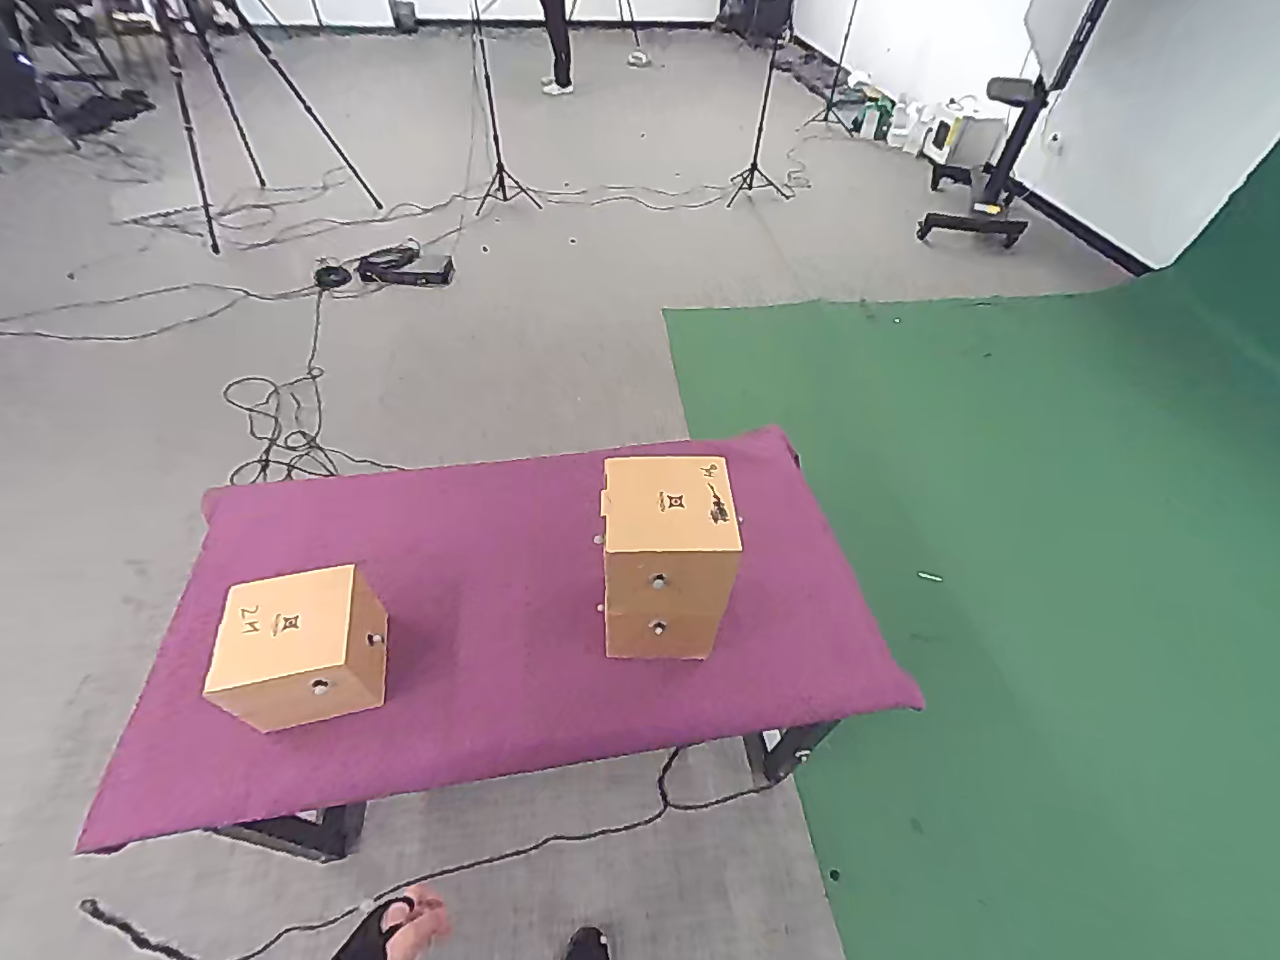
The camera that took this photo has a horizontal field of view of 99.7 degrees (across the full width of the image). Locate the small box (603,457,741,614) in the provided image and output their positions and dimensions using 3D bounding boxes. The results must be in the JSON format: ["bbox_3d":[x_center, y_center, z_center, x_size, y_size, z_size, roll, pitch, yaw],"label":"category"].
[{"bbox_3d":[0.039,0.084,0.781,0.179,0.176,0.168,-1,50,-2],"label":"small box"}]

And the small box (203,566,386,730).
[{"bbox_3d":[-0.502,0.256,0.821,0.179,0.176,0.168,-10,50,-10],"label":"small box"}]

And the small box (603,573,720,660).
[{"bbox_3d":[0.033,0.190,0.905,0.179,0.176,0.168,2,49,-1],"label":"small box"}]
